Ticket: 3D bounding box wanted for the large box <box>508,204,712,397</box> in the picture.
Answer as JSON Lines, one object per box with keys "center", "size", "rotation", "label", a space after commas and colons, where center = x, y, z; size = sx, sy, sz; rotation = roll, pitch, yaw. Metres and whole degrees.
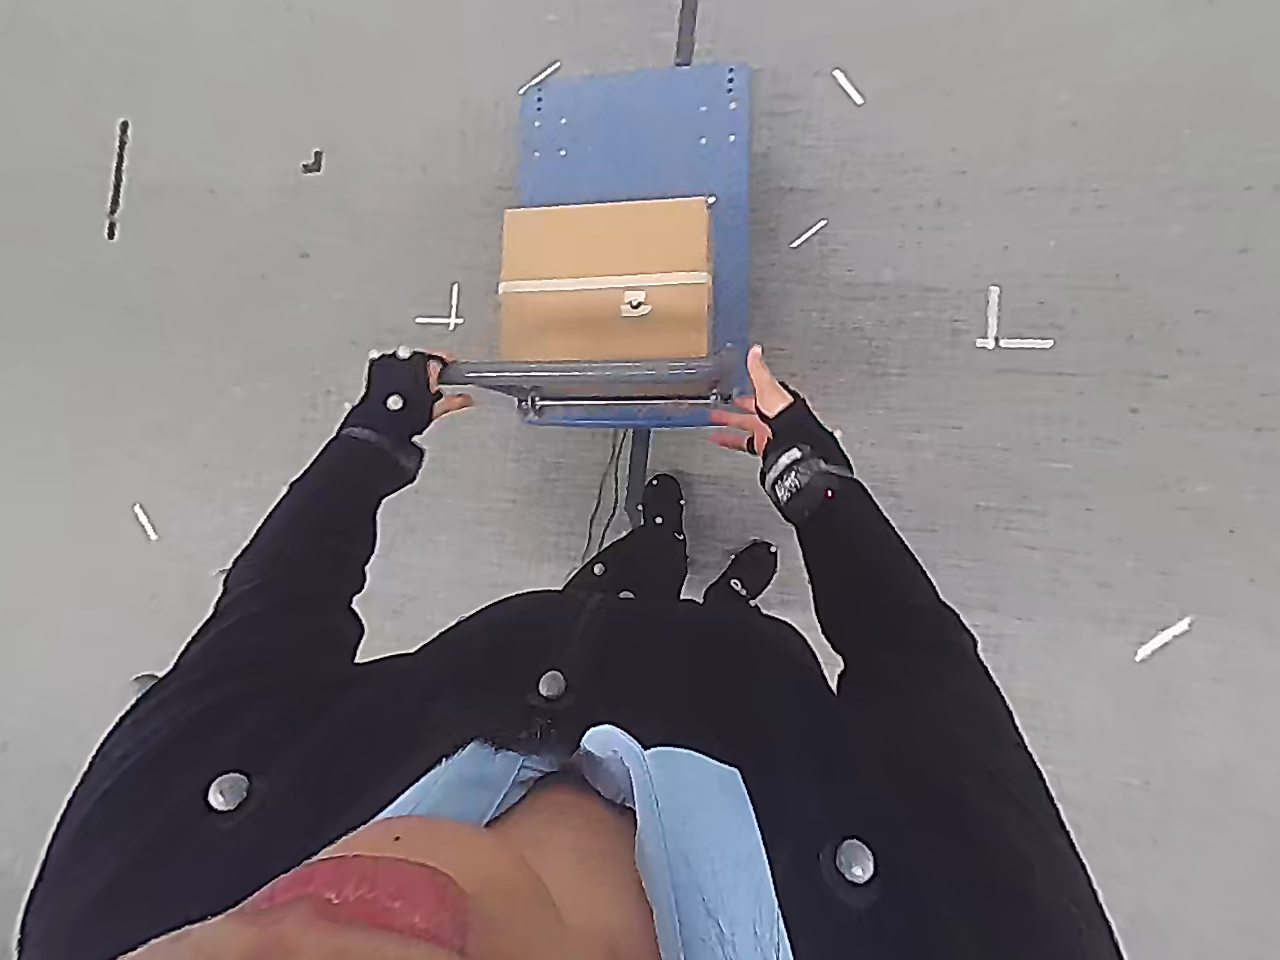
{"center": [-0.046, -0.366, 1.192], "size": [0.408, 0.320, 0.320], "rotation": [1, 90, 8], "label": "large box"}
